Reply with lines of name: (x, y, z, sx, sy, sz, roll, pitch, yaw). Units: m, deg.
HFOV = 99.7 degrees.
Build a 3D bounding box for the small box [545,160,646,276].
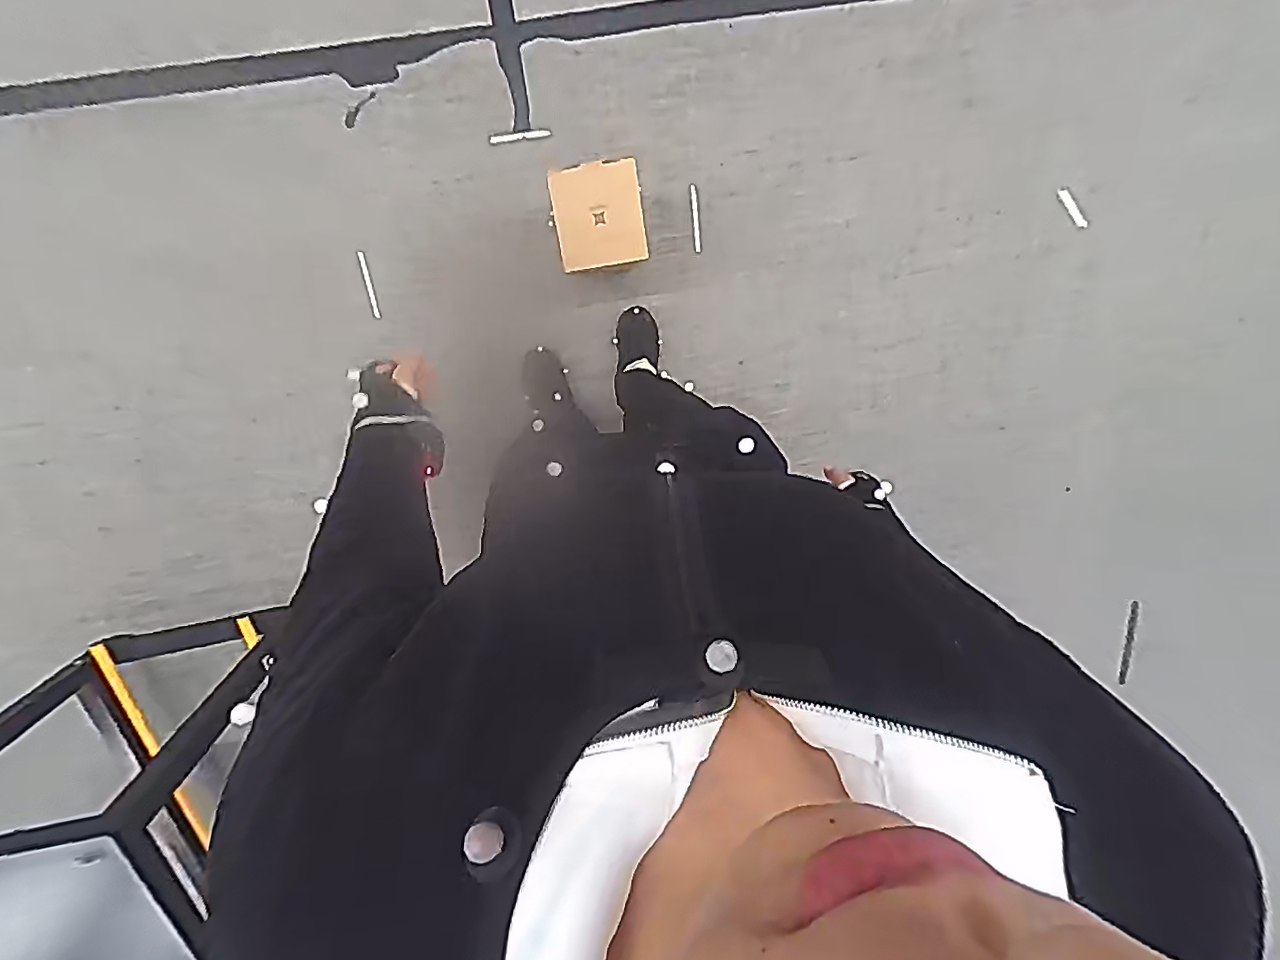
small box: (-0.091, -0.514, 1.081, 0.168, 0.176, 0.179, -11, 111, -2)
